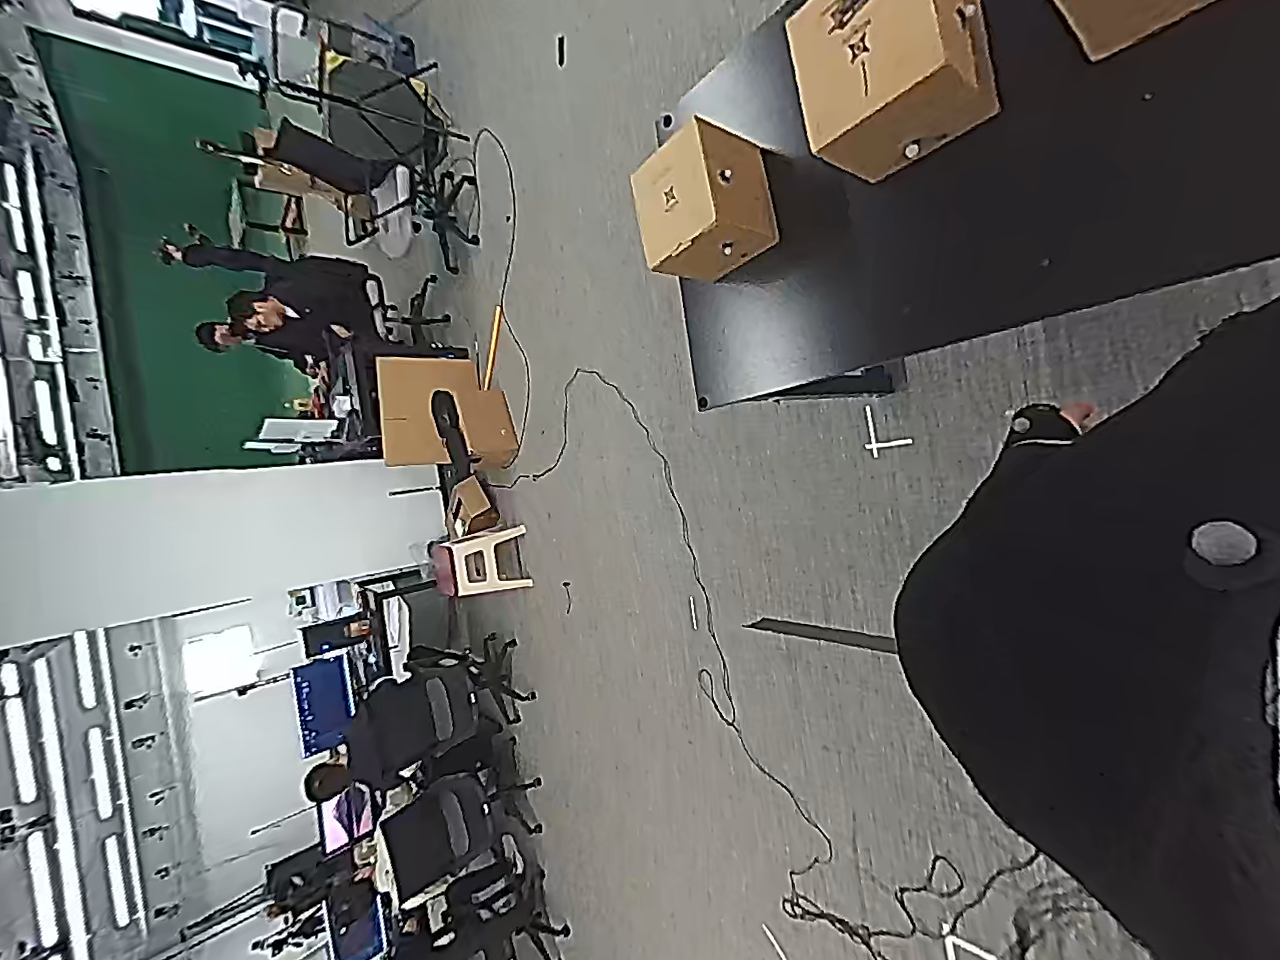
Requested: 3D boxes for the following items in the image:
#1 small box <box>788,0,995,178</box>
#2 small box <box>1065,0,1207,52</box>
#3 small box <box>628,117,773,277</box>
[{"bbox_3d":[0.312,-0.514,0.671,0.168,0.176,0.179,-11,89,51],"label":"small box"},{"bbox_3d":[0.476,-0.531,0.470,0.179,0.176,0.168,-6,92,52],"label":"small box"},{"bbox_3d":[0.106,-0.466,0.928,0.168,0.176,0.179,-15,84,49],"label":"small box"}]
